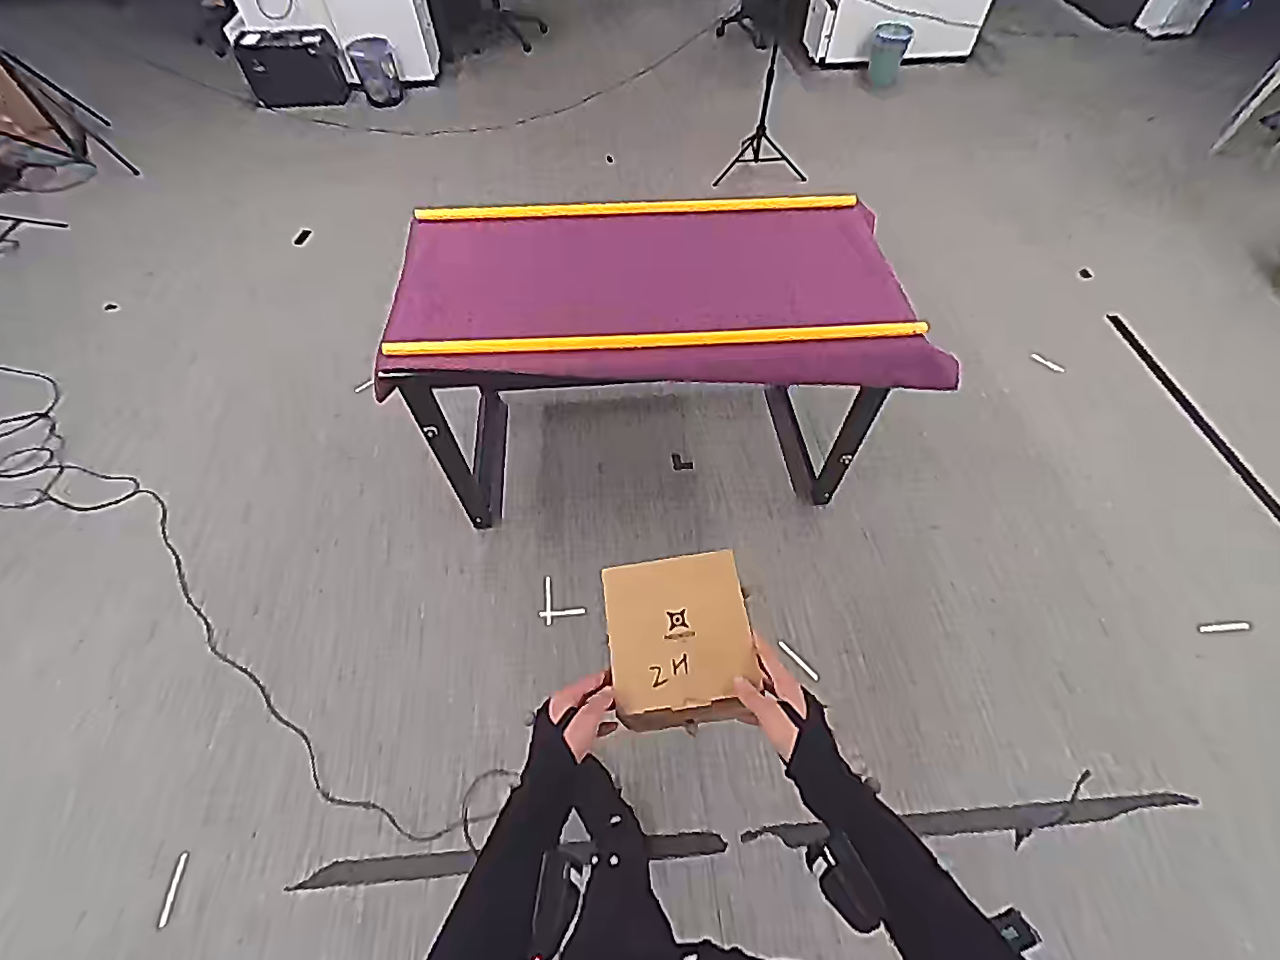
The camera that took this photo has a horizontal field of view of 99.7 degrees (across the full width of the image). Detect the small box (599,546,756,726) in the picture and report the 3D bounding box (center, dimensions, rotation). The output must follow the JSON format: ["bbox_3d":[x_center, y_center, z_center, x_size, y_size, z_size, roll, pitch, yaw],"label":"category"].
[{"bbox_3d":[0.044,0.207,0.702,0.168,0.176,0.179,-9,59,1],"label":"small box"}]
